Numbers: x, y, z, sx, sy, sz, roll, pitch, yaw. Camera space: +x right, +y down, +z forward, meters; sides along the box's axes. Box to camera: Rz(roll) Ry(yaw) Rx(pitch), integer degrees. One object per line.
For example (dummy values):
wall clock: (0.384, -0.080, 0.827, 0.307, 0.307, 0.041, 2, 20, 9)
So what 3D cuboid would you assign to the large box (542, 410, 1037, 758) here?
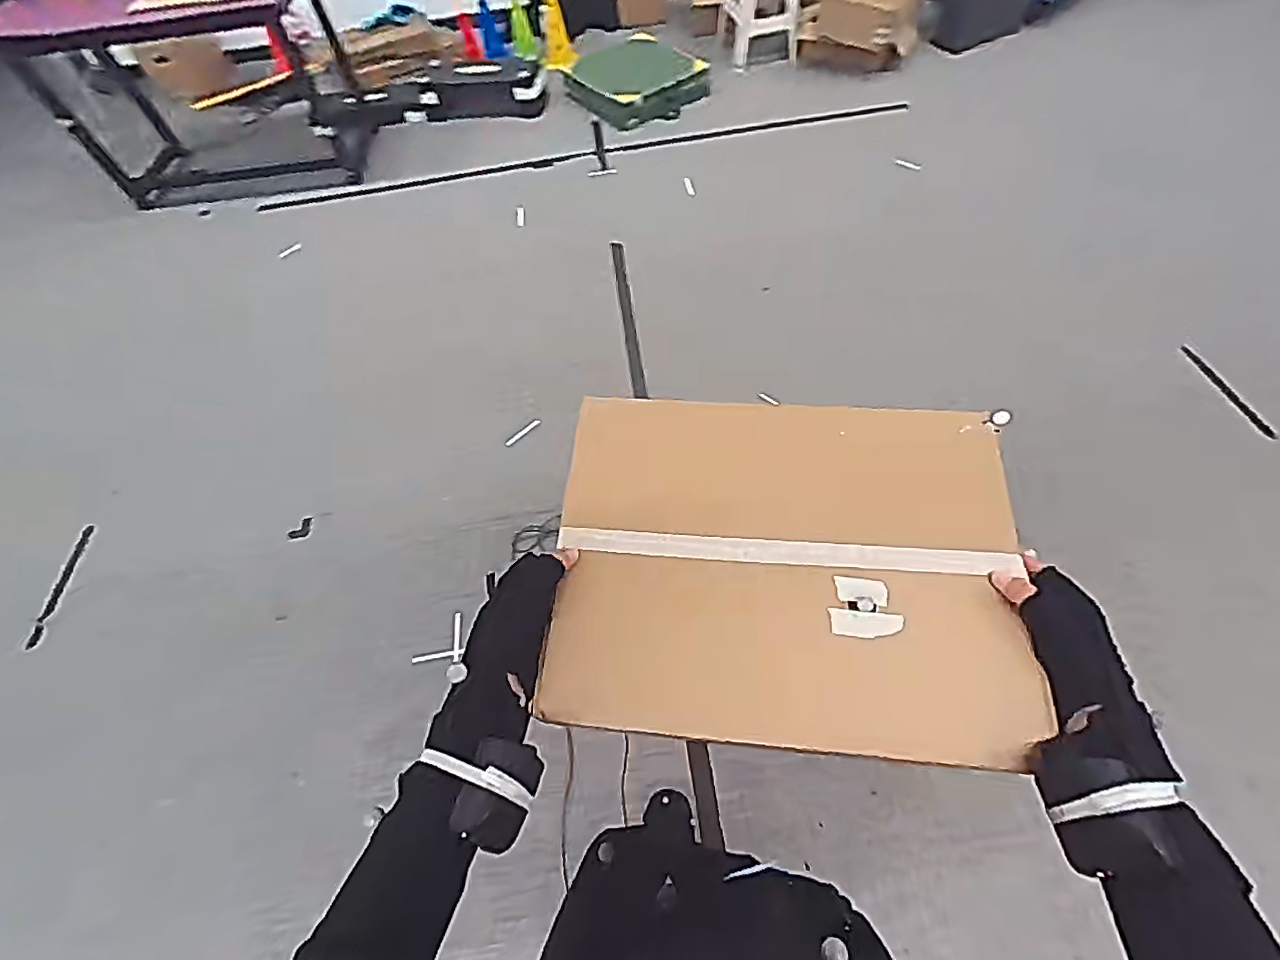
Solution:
large box: (0.132, 0.133, 0.632, 0.408, 0.320, 0.320, 3, 66, 6)
